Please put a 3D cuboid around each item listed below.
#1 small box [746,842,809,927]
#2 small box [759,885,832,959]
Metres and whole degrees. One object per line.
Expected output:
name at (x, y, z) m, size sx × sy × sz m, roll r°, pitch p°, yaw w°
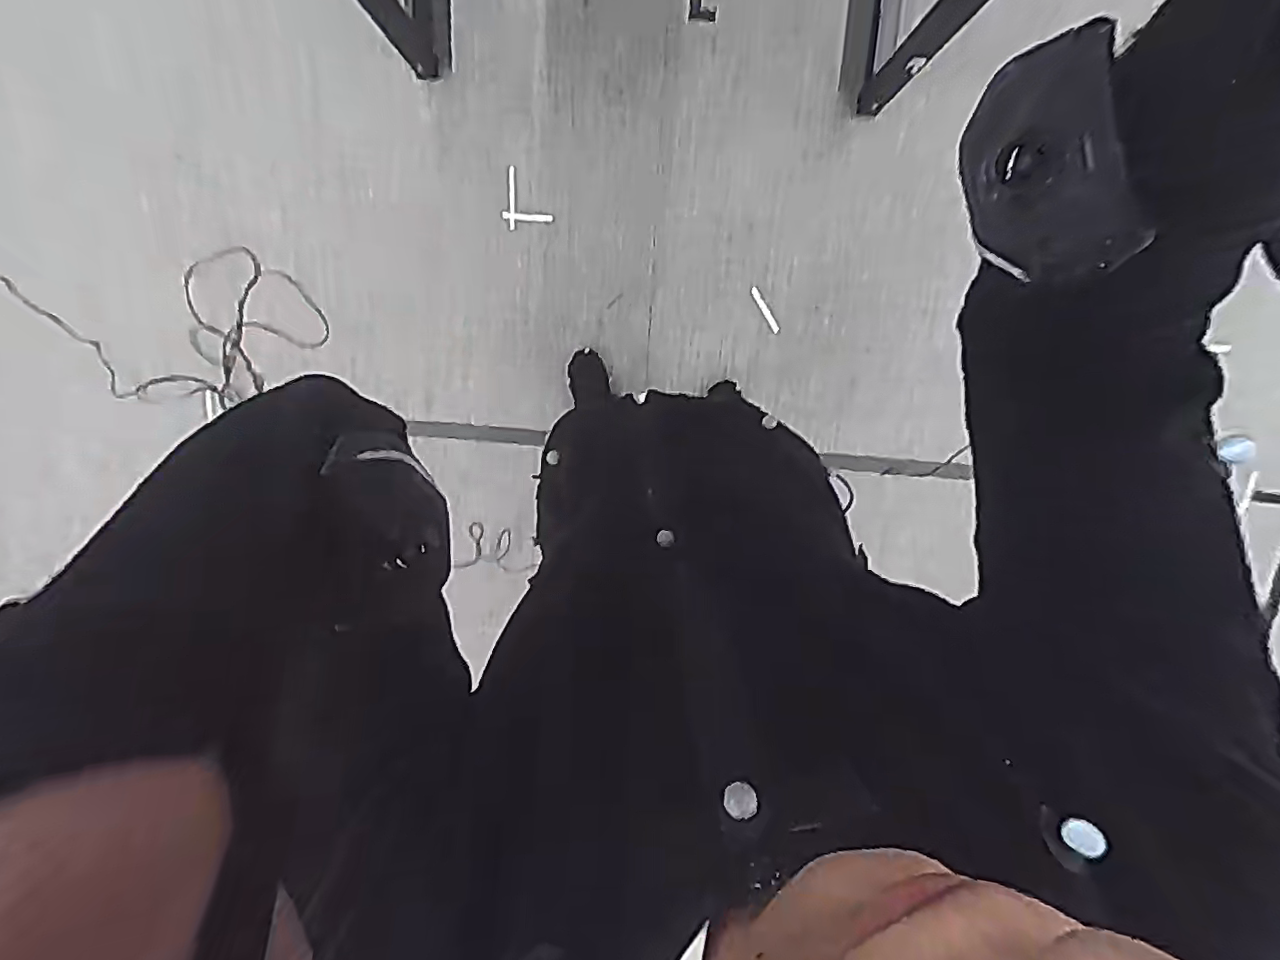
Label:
small box at (0.471, 1.399, 1.868) m, size 0.168 × 0.176 × 0.179 m, roll 5°, pitch 103°, yaw -3°
small box at (0.483, 1.431, 1.707) m, size 0.168 × 0.176 × 0.179 m, roll 5°, pitch 102°, yaw -4°
